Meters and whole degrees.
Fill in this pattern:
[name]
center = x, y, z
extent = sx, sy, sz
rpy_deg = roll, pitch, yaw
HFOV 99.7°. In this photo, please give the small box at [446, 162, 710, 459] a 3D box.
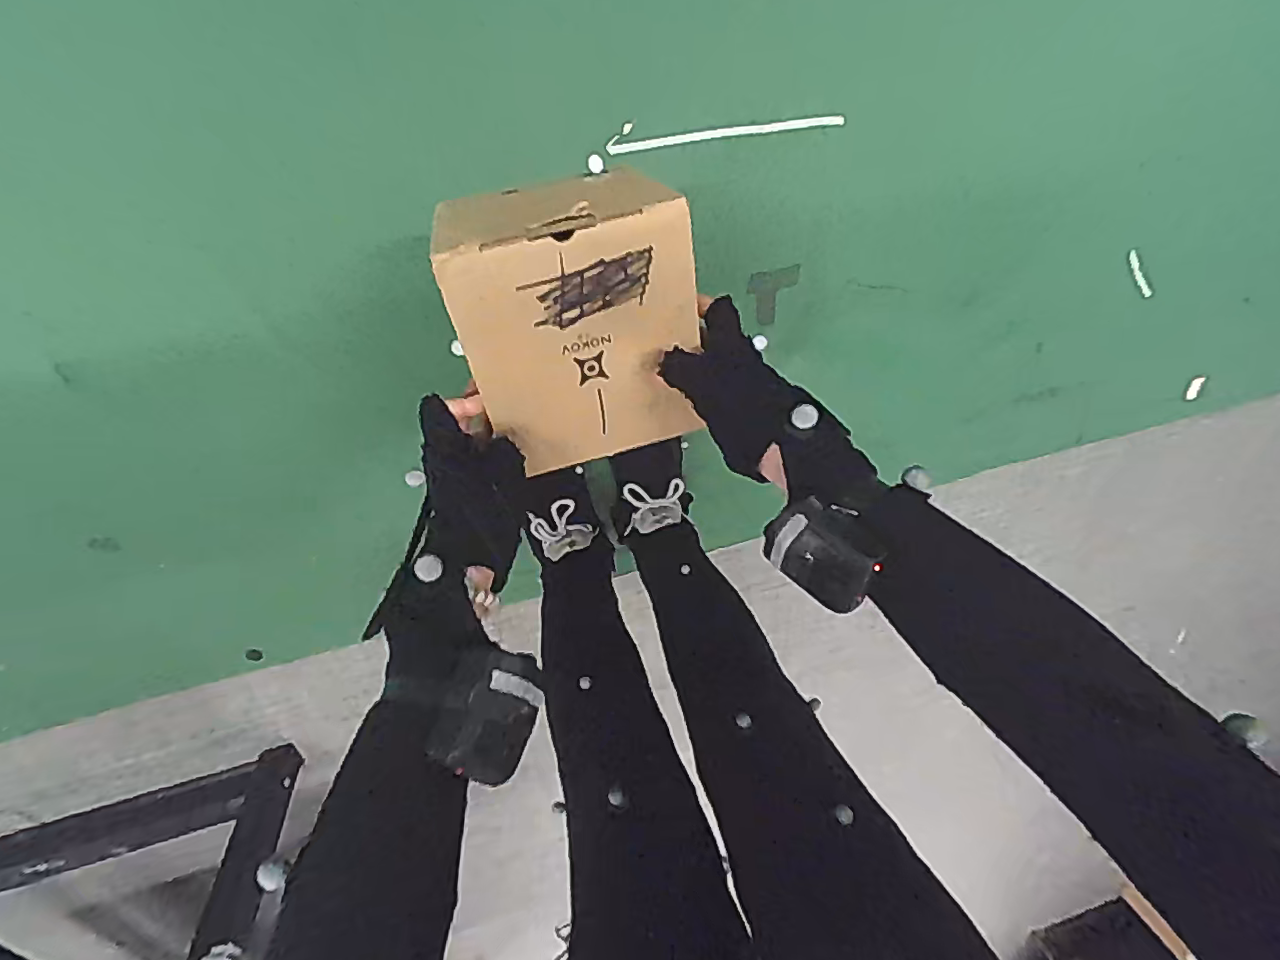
[small box]
center = -0.052, -0.149, 0.446
extent = 0.168, 0.176, 0.179
rpy_deg = -16, 129, -7
